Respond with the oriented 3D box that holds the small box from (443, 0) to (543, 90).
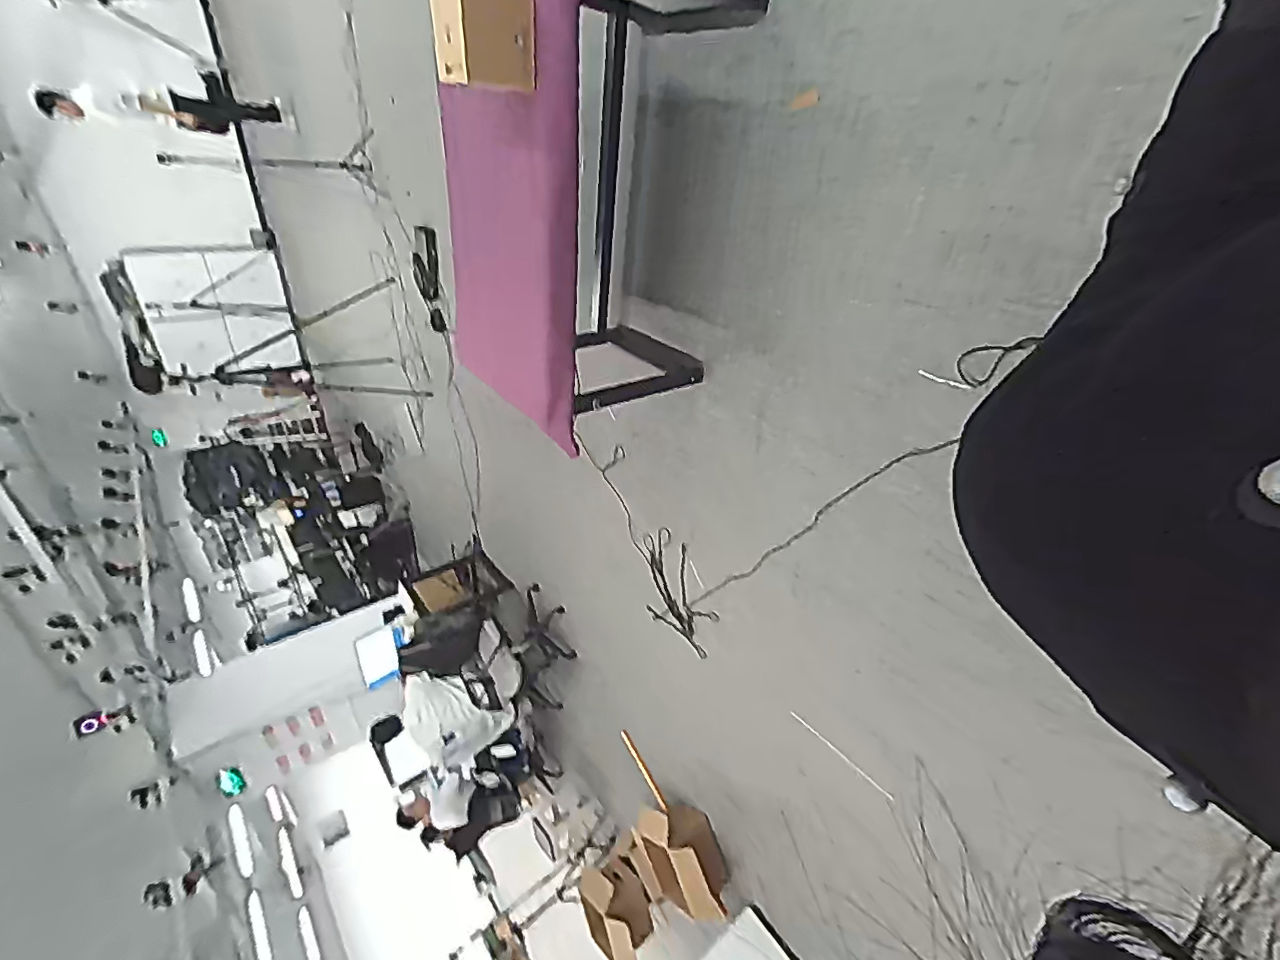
[{"bbox_3d":[-0.329,-1.005,1.226,0.168,0.176,0.179,40,136,40],"label":"small box"}]
